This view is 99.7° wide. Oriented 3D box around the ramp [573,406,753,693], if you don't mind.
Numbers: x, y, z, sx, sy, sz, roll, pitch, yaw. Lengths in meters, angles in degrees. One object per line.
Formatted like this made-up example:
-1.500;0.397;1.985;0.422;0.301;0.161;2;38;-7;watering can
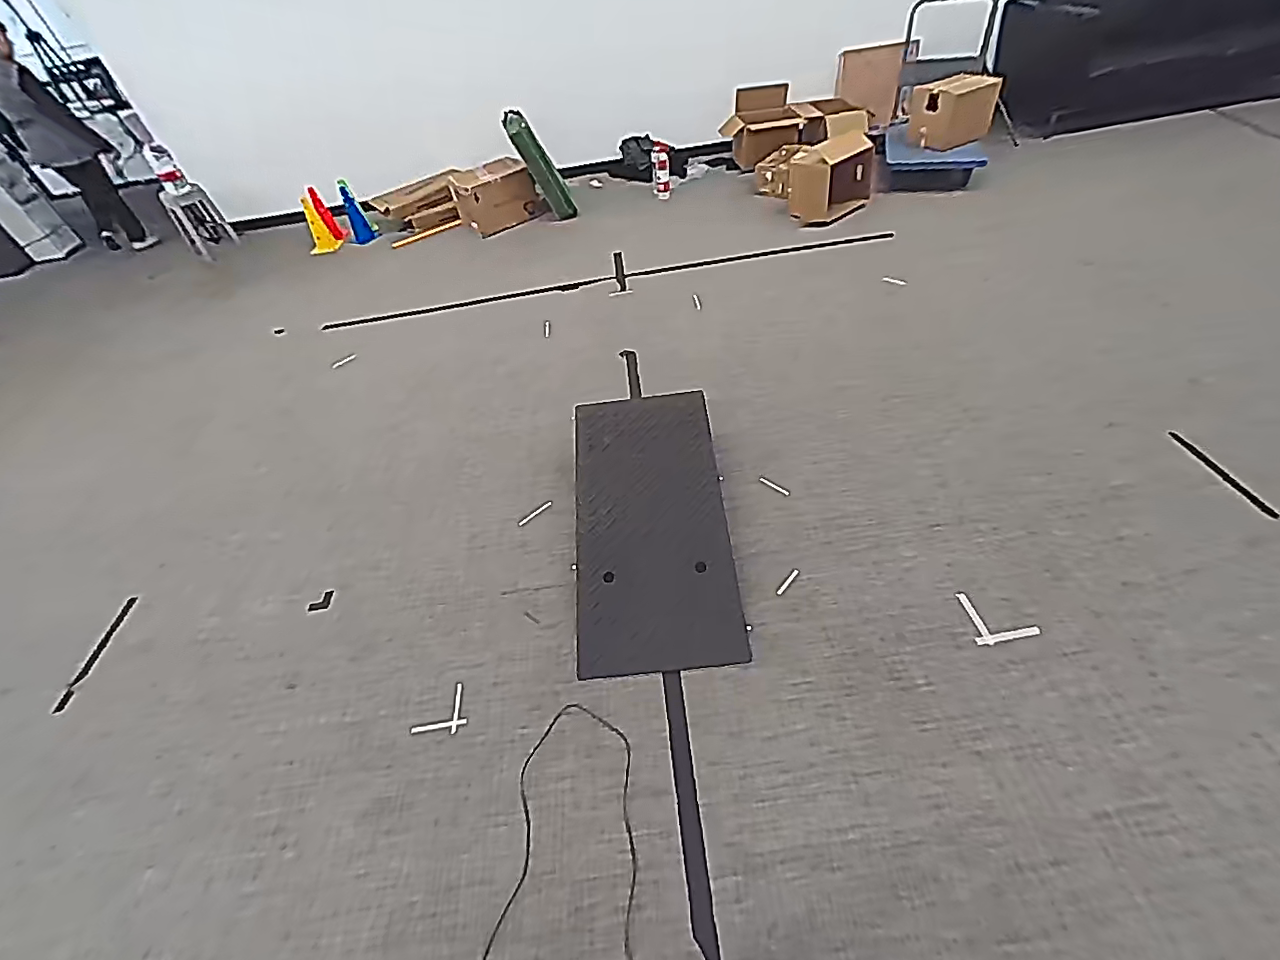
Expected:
0.033;0.160;1.790;0.509;0.206;0.991;-9;45;0;ramp
